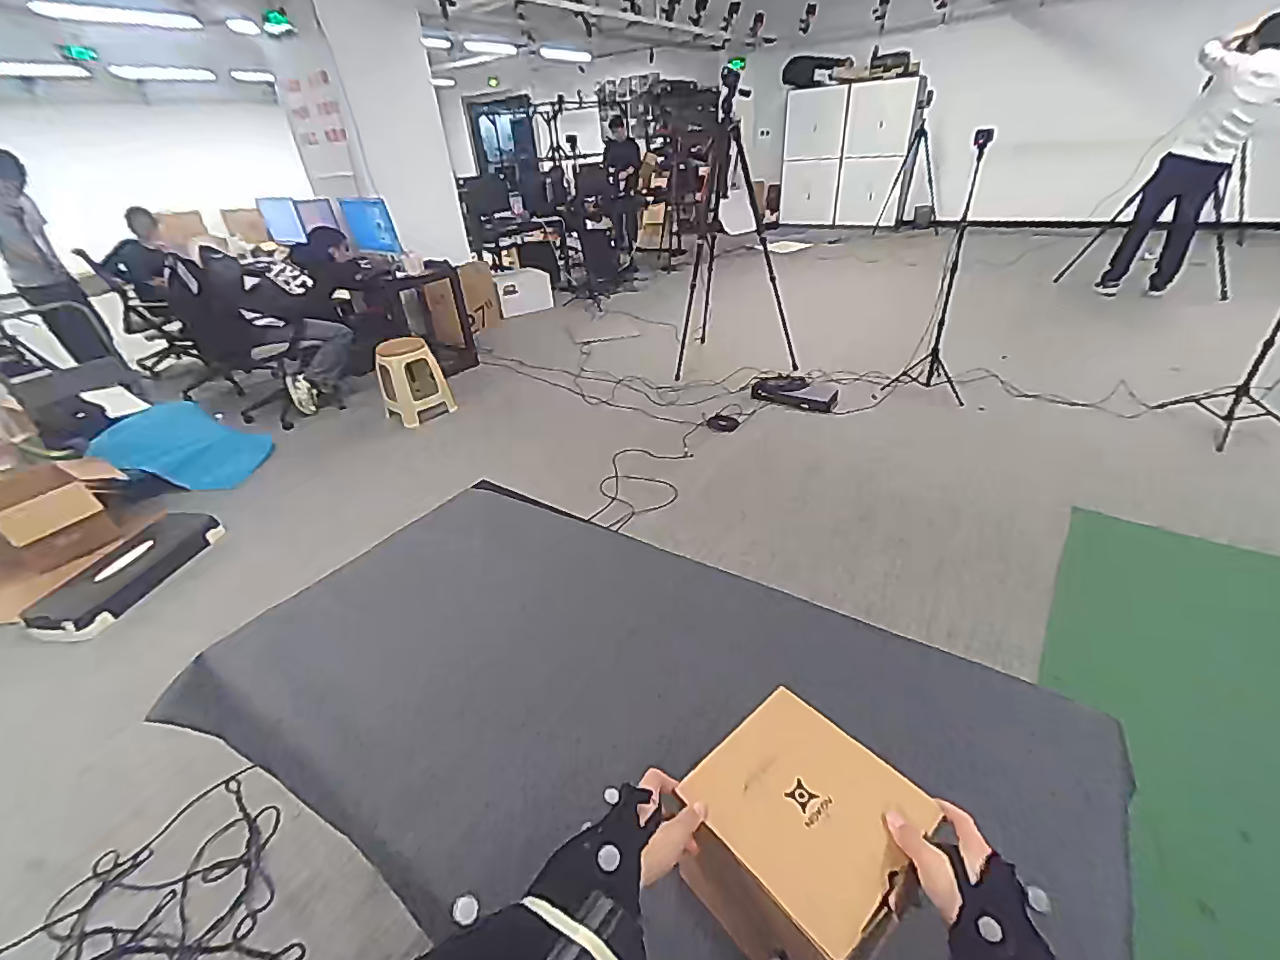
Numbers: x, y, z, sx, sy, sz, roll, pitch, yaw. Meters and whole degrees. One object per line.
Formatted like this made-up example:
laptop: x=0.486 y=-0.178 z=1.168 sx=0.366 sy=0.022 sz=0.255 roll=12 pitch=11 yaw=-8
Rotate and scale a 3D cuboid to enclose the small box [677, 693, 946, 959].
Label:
small box: x=0.156 y=0.357 z=0.525 sx=0.168 sy=0.176 sz=0.179 roll=-26 pitch=37 yaw=-33
